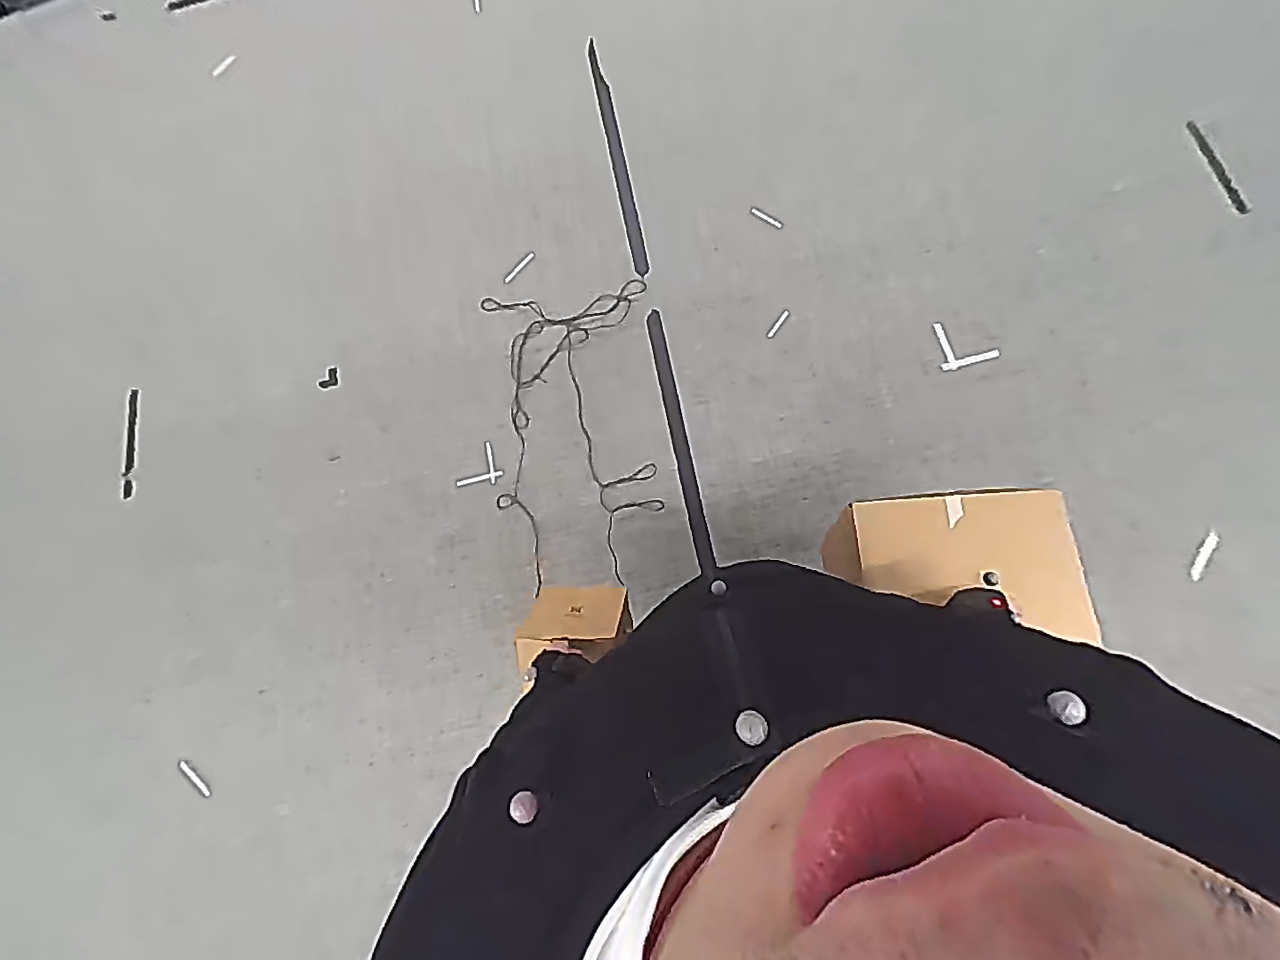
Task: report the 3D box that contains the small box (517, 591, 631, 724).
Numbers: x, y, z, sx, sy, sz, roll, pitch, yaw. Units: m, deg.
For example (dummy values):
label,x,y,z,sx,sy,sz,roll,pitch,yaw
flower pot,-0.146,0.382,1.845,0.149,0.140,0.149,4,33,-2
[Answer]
label,x,y,z,sx,sy,sz,roll,pitch,yaw
small box,-0.108,0.316,0.976,0.168,0.179,0.176,-1,105,6
